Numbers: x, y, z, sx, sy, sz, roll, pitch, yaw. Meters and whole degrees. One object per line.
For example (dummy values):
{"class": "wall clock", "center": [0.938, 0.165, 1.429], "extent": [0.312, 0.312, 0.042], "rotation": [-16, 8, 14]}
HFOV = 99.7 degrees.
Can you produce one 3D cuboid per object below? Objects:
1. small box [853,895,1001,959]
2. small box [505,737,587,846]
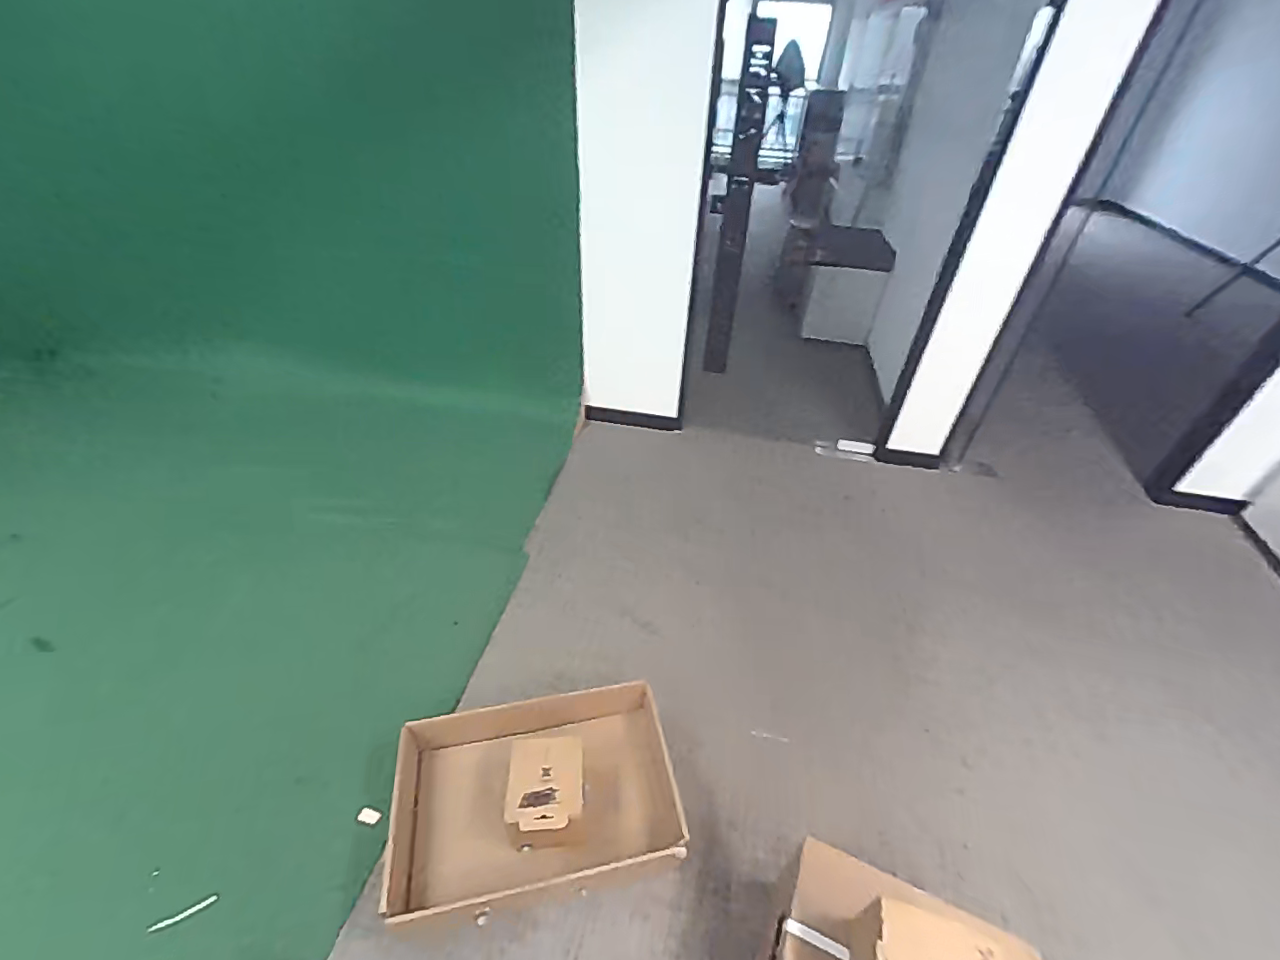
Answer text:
{"class": "small box", "center": [0.426, 0.779, 0.818], "extent": [0.179, 0.176, 0.168], "rotation": [14, 41, 13]}
{"class": "small box", "center": [-0.210, 0.726, 1.255], "extent": [0.168, 0.176, 0.179], "rotation": [-1, 38, -4]}
